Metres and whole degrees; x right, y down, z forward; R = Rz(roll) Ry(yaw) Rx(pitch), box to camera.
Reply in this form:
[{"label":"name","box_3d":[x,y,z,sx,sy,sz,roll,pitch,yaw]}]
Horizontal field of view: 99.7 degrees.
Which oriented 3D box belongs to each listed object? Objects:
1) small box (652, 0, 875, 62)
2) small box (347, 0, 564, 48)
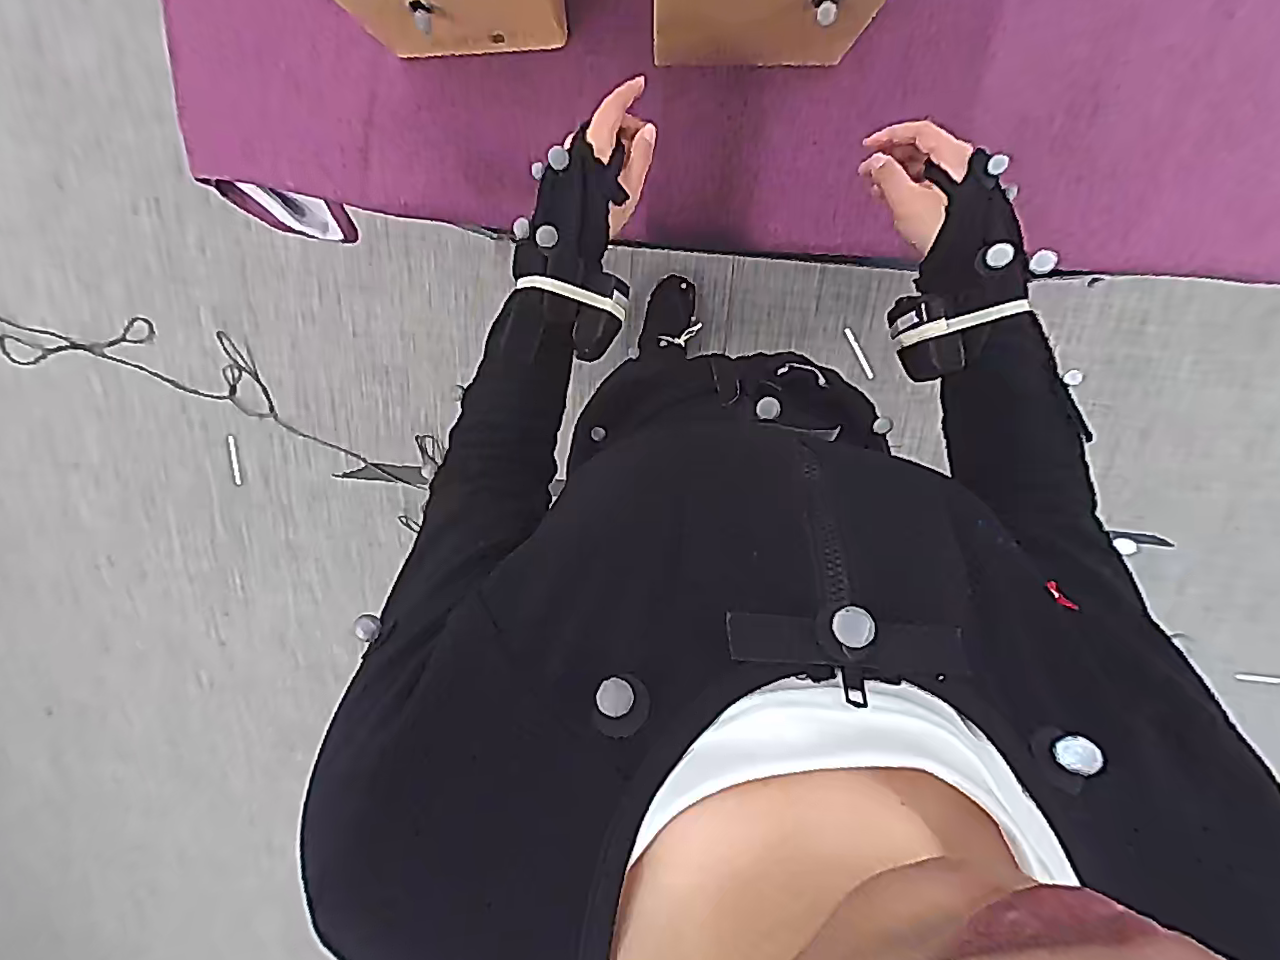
[{"label":"small box","box_3d":[0.099,-0.448,0.409,0.179,0.176,0.168,1,108,2]},{"label":"small box","box_3d":[-0.157,-0.465,0.414,0.168,0.176,0.179,-2,108,3]}]
